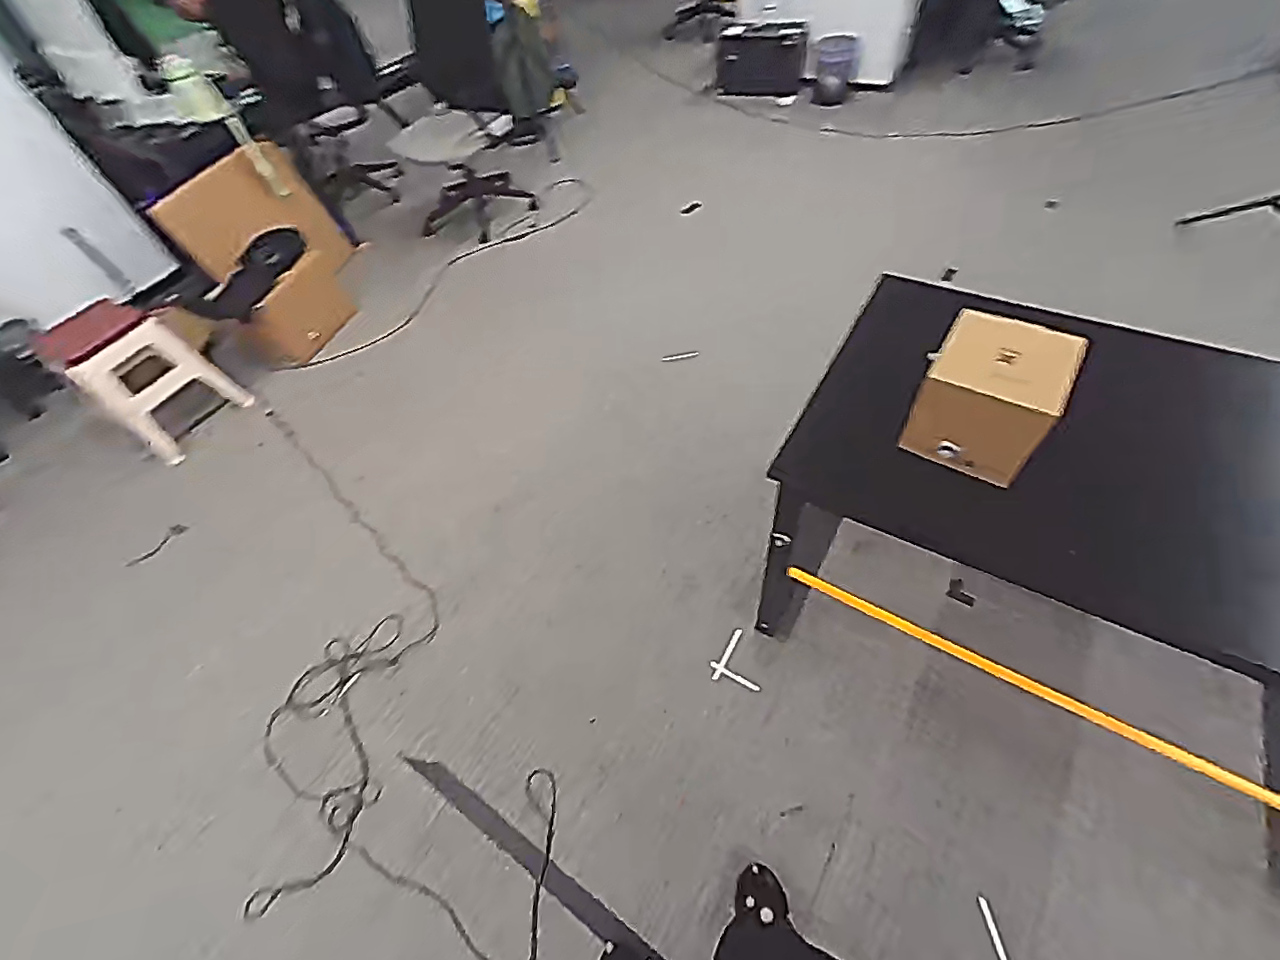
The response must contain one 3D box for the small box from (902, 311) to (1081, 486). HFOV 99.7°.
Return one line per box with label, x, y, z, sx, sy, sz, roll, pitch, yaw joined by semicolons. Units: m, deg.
small box;0.532;-0.125;0.837;0.168;0.176;0.179;25;62;25
